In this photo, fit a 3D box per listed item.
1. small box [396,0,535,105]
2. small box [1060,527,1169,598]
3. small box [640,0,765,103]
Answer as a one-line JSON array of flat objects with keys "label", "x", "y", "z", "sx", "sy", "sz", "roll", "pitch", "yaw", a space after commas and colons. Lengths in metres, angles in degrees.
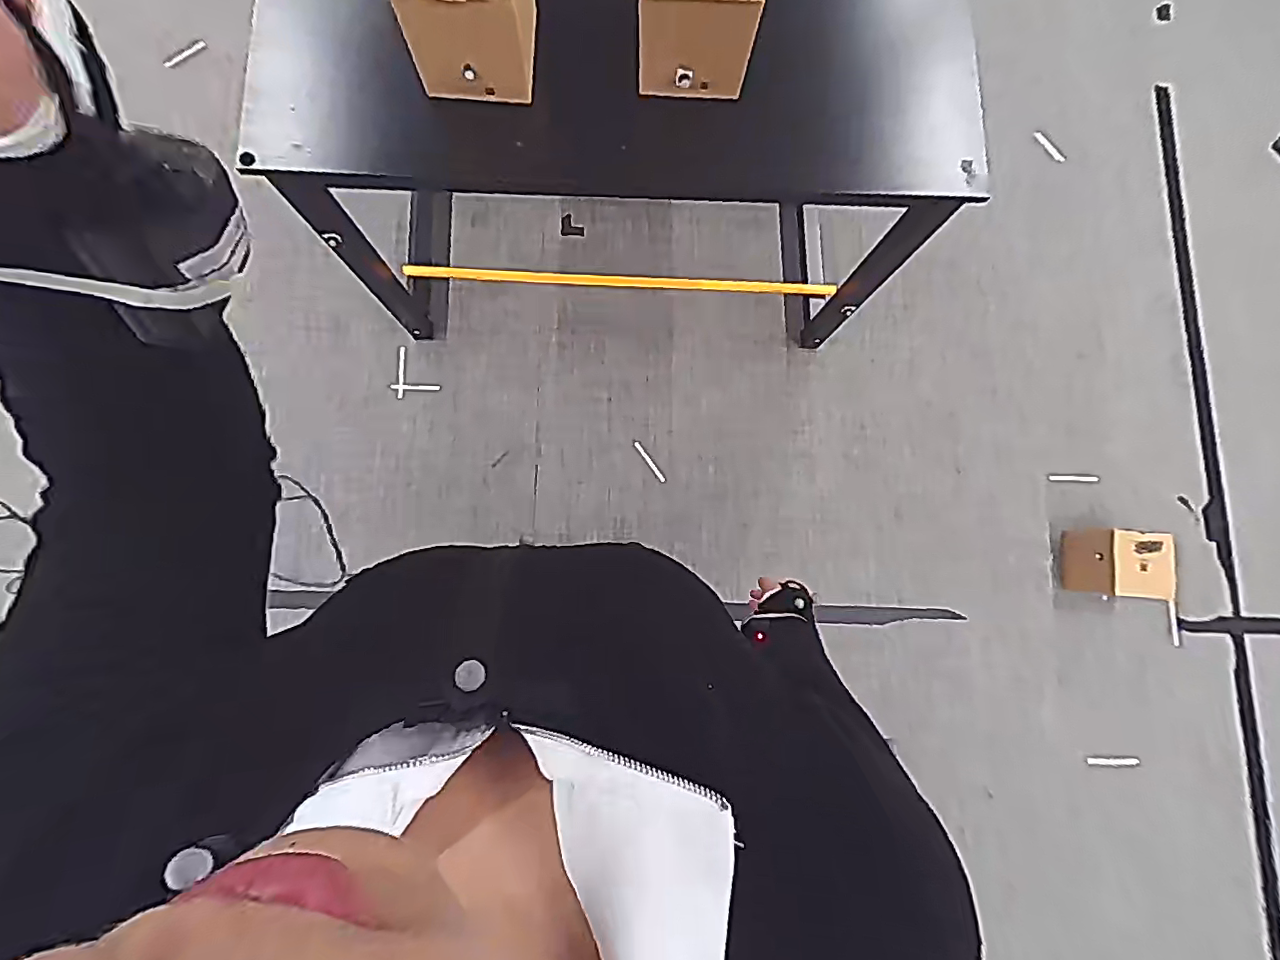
[{"label": "small box", "x": -0.250, "y": -0.707, "z": 0.801, "sx": 0.168, "sy": 0.176, "sz": 0.179, "roll": 2, "pitch": 82, "yaw": -3}, {"label": "small box", "x": 1.315, "y": 0.227, "z": 1.509, "sx": 0.168, "sy": 0.176, "sz": 0.179, "roll": 5, "pitch": 83, "yaw": -2}, {"label": "small box", "x": 0.085, "y": -0.725, "z": 0.826, "sx": 0.168, "sy": 0.176, "sz": 0.179, "roll": -1, "pitch": 83, "yaw": -2}]
